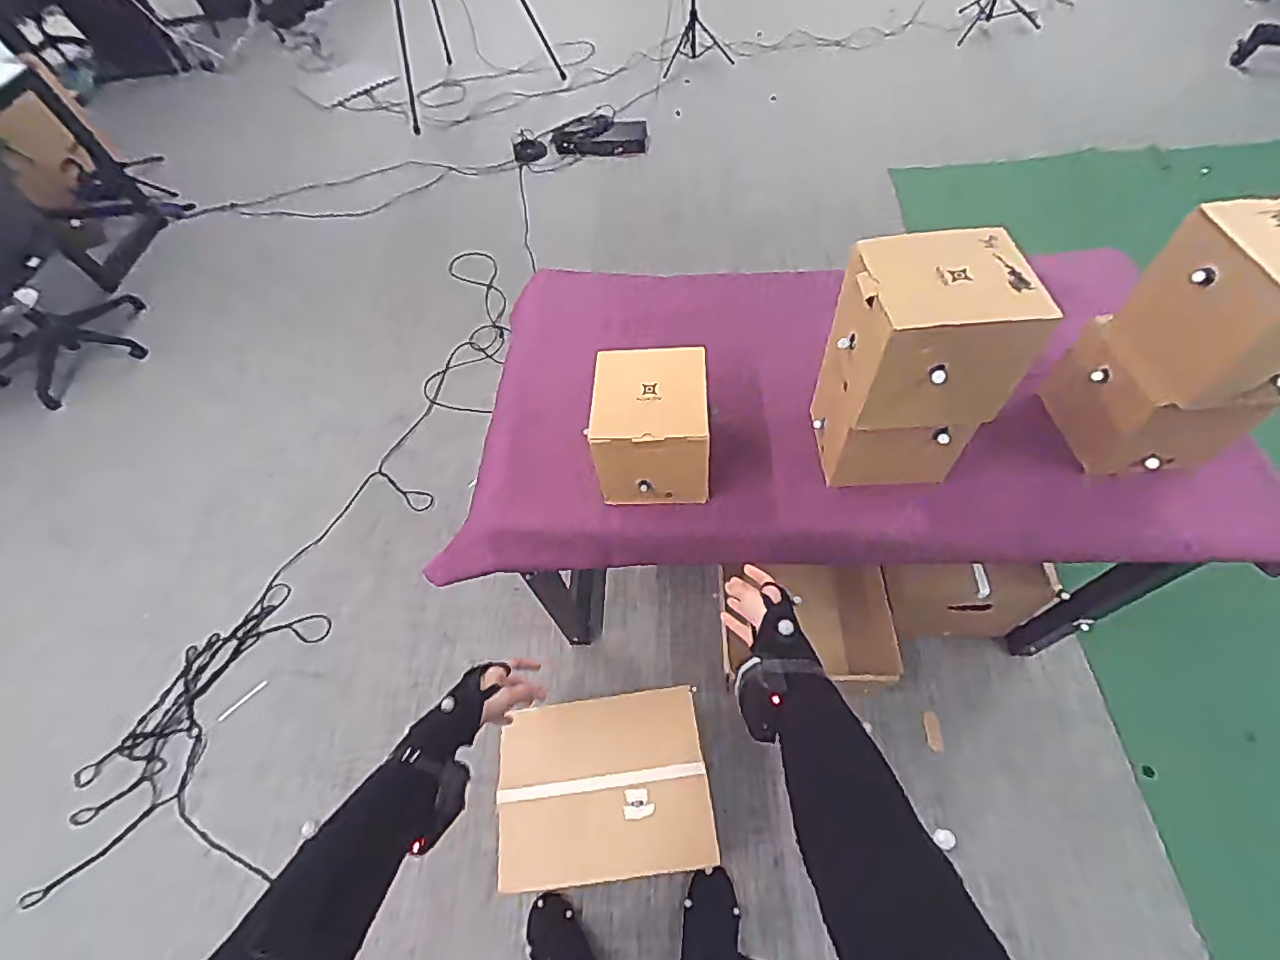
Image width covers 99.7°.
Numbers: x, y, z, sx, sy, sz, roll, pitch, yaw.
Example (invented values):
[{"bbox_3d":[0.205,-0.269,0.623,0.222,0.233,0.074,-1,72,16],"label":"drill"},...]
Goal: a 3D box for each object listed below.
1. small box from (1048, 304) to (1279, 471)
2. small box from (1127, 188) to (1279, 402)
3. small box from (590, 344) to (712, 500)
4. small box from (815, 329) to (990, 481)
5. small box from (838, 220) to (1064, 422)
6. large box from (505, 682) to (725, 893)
[{"bbox_3d":[0.738,-0.134,0.774,0.168,0.176,0.179,-5,56,5],"label":"small box"},{"bbox_3d":[0.736,-0.215,0.630,0.168,0.176,0.179,-5,56,6],"label":"small box"},{"bbox_3d":[0.023,-0.085,0.834,0.168,0.176,0.179,-2,57,6],"label":"small box"},{"bbox_3d":[0.373,-0.112,0.805,0.179,0.176,0.168,-3,56,6],"label":"small box"},{"bbox_3d":[0.351,-0.186,0.660,0.179,0.176,0.168,-4,56,5],"label":"small box"},{"bbox_3d":[-0.050,0.656,1.158,0.408,0.320,0.320,-8,56,1],"label":"large box"}]
